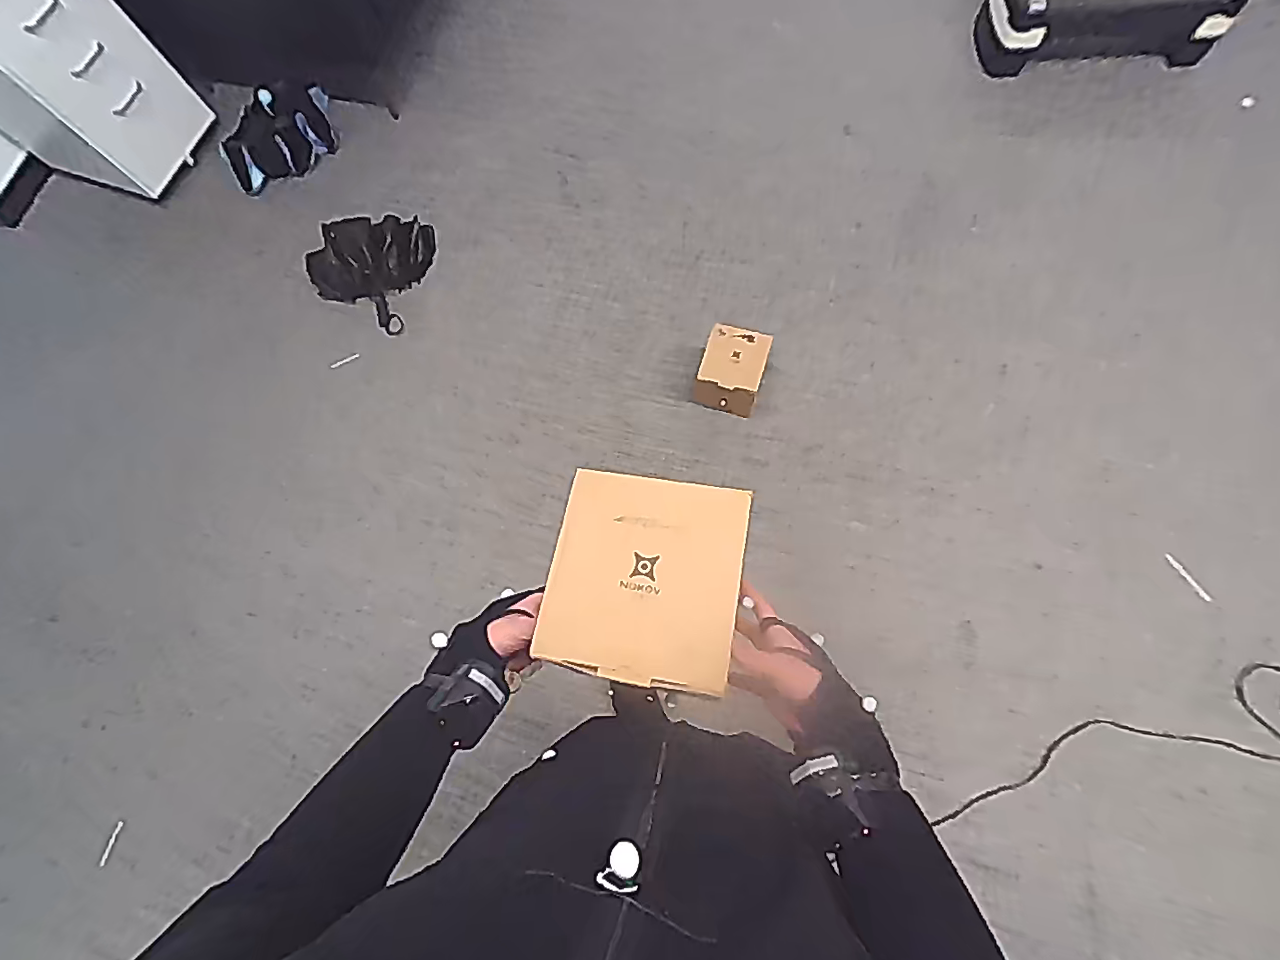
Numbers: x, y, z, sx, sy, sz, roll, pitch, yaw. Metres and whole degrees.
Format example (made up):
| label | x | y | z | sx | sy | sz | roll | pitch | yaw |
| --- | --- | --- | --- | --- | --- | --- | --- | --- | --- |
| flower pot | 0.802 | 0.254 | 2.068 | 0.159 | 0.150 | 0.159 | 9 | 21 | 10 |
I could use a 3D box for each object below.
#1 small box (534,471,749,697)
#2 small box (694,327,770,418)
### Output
| label | x | y | z | sx | sy | sz | roll | pitch | yaw |
| --- | --- | --- | --- | --- | --- | --- | --- | --- | --- |
| small box | 0.013 | 0.112 | 0.545 | 0.168 | 0.176 | 0.179 | 8 | 67 | 10 |
| small box | 0.255 | -0.296 | 1.524 | 0.168 | 0.176 | 0.179 | 16 | 76 | 9 |
